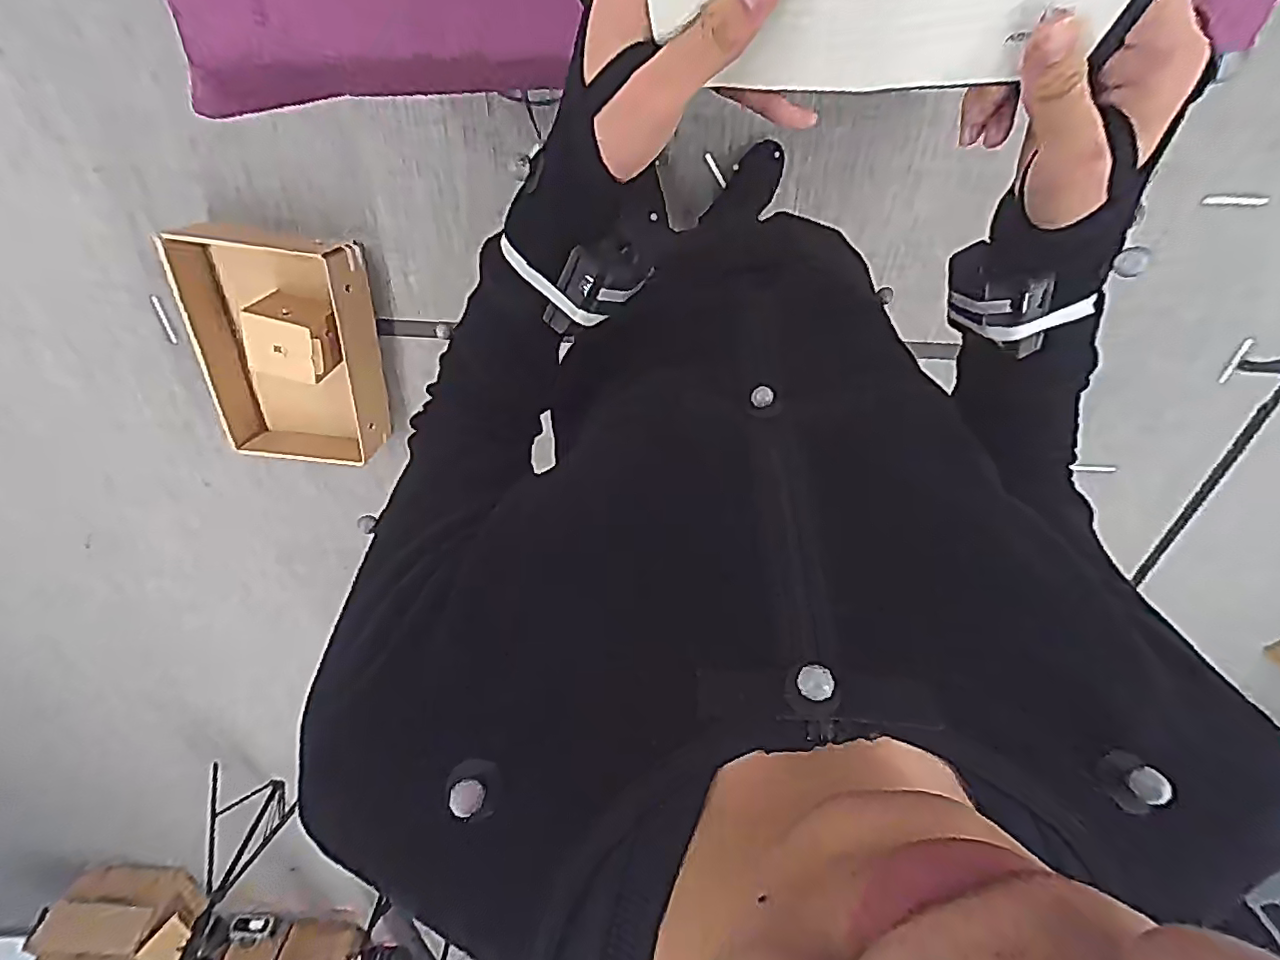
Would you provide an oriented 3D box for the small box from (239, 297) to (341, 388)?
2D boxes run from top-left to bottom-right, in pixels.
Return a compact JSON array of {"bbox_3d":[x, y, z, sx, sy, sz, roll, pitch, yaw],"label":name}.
[{"bbox_3d":[-0.927,-0.375,1.457,0.179,0.176,0.168,13,125,-8],"label":"small box"}]
